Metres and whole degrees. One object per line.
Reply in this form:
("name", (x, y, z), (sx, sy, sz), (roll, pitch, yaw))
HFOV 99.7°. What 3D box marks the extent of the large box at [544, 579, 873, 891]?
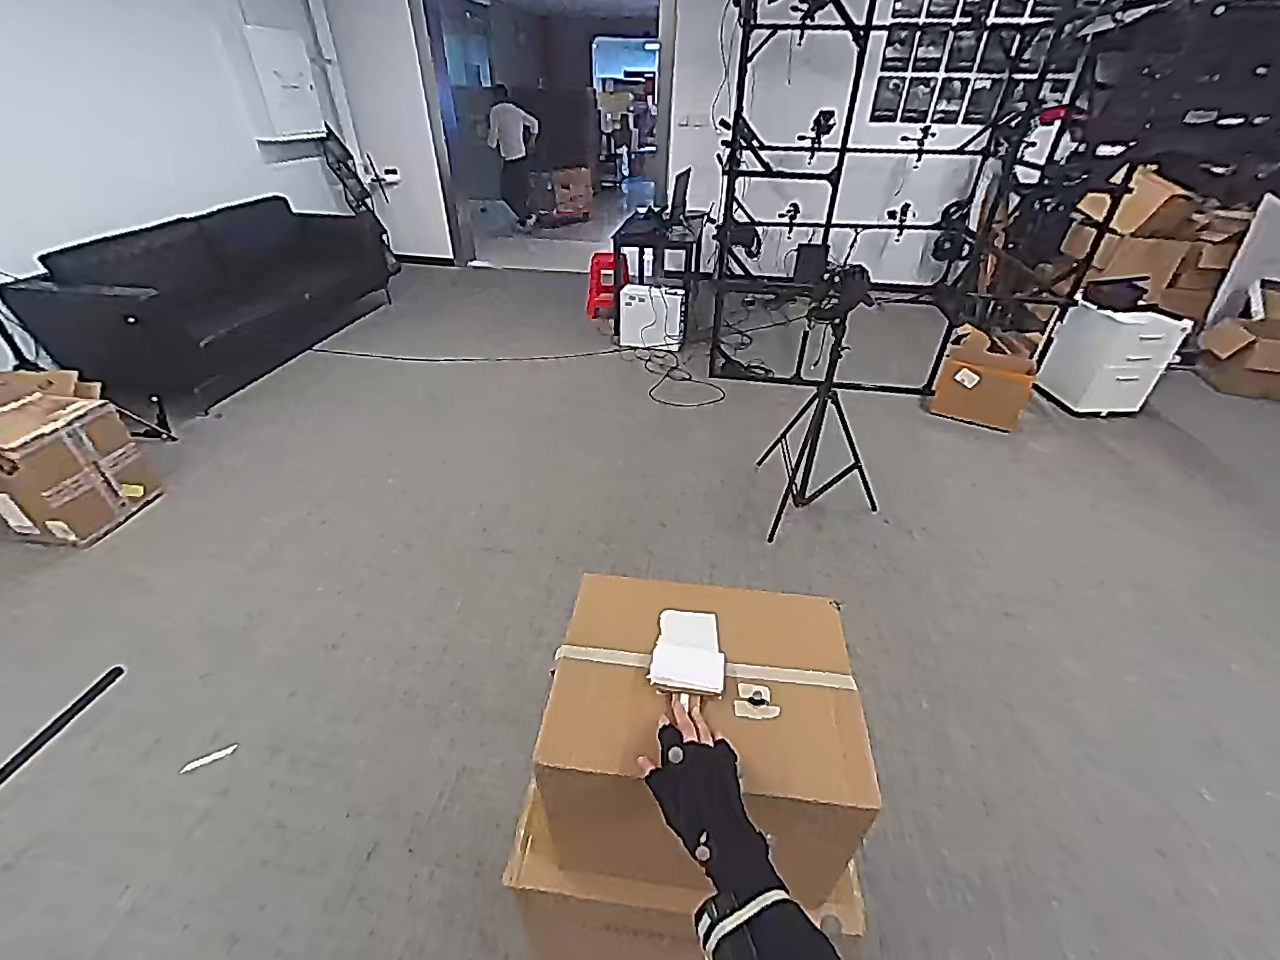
("large box", (0.087, 0.388, 0.848), (0.408, 0.320, 0.320), (5, 36, 4))
